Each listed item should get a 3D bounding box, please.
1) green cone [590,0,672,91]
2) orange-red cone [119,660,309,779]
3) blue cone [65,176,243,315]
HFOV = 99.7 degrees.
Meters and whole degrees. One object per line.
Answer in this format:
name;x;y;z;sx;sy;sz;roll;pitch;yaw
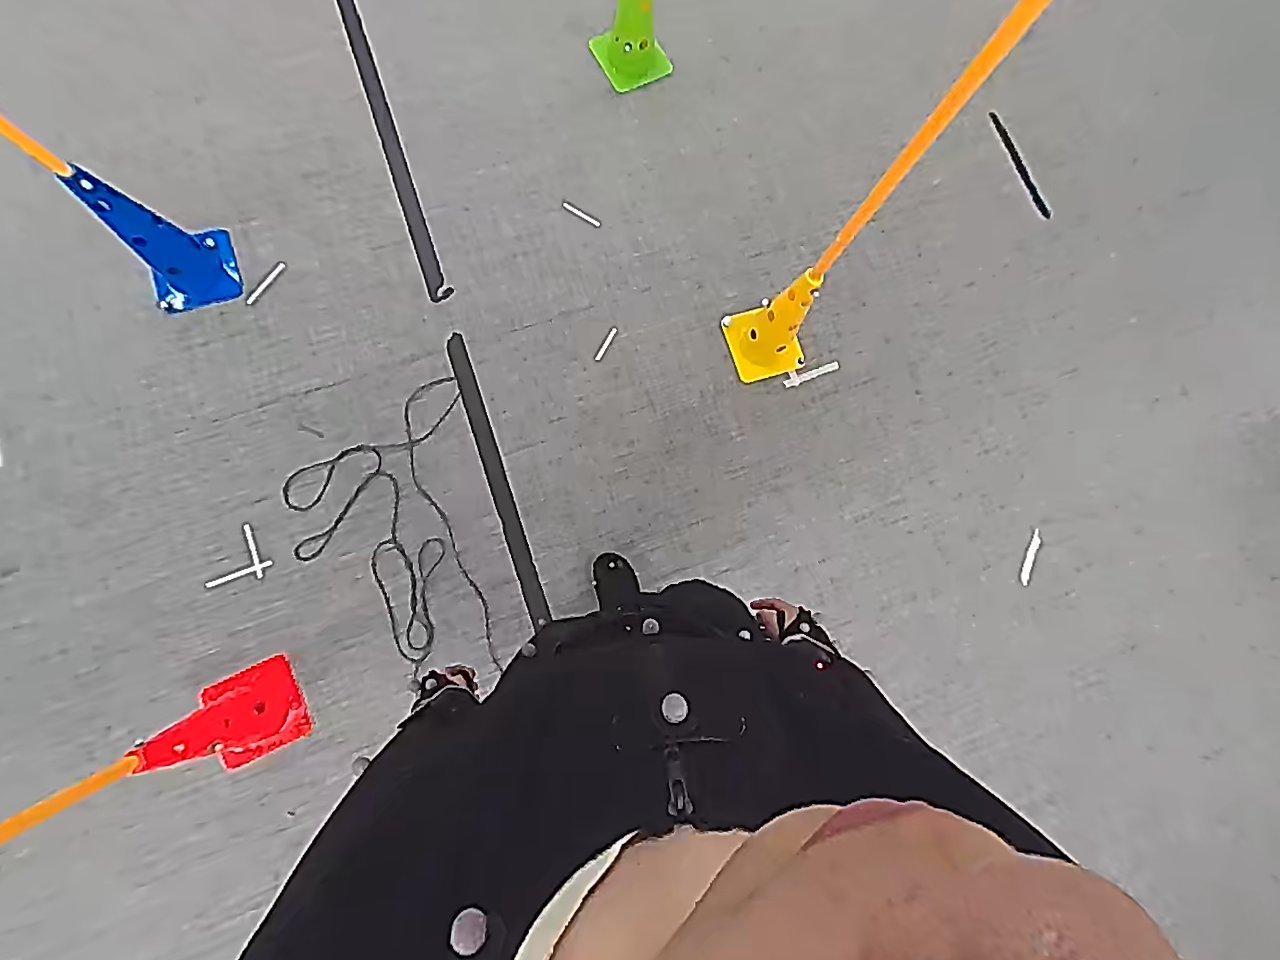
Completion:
green cone;-0.009;-1.307;1.462;0.200;0.368;0.202;-30;86;-9
orange-red cone;-0.862;0.505;1.067;0.199;0.360;0.198;-24;84;-10
blue cone;-1.129;-0.560;1.240;0.193;0.380;0.192;-16;83;-8
